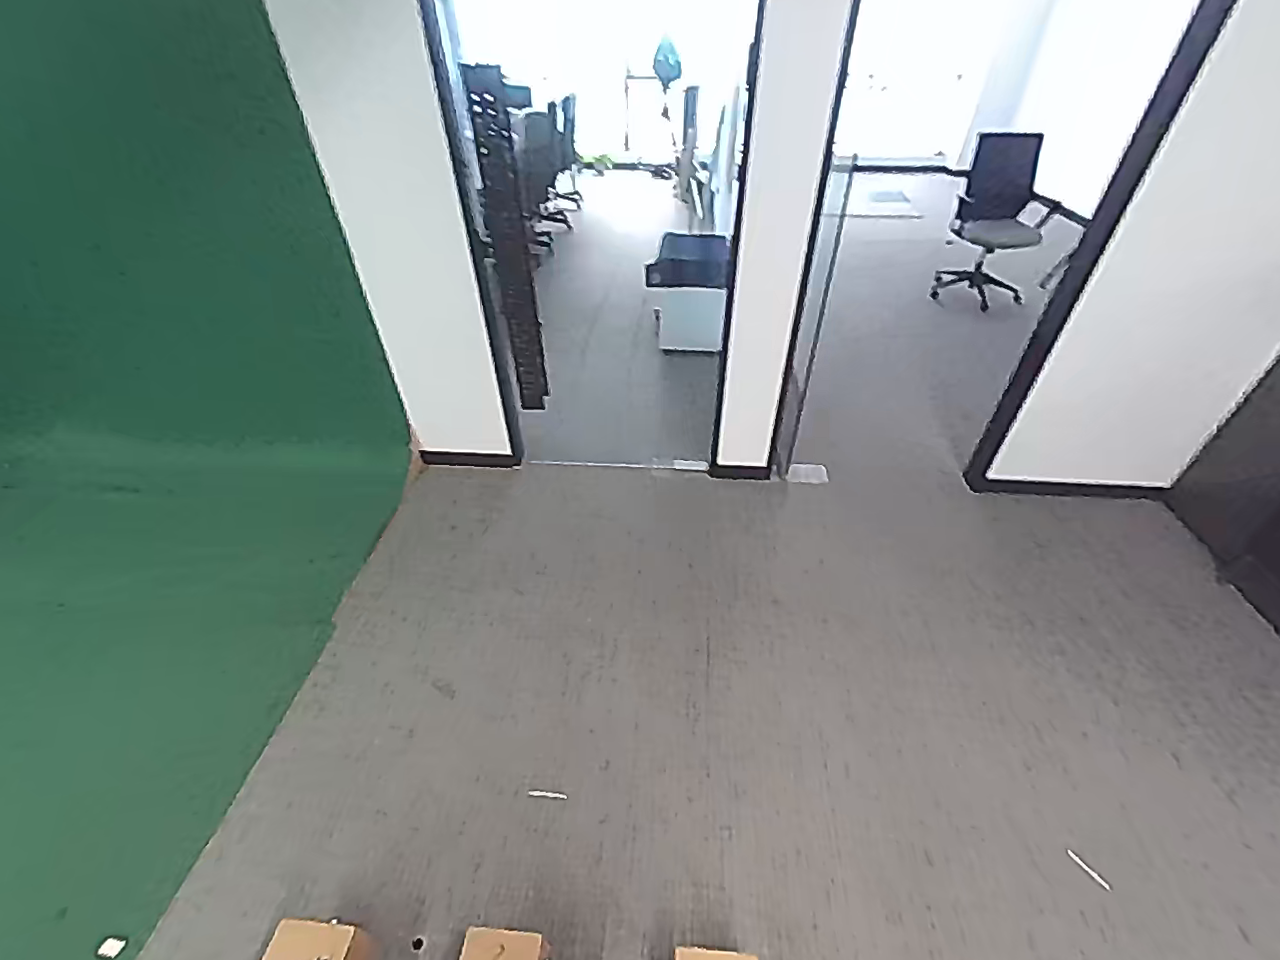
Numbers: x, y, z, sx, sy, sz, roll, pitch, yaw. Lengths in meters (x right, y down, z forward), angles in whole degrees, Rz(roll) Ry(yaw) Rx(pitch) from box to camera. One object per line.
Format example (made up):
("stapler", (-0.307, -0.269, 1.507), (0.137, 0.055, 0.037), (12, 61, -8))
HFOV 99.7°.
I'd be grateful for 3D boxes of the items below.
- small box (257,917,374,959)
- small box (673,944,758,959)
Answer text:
("small box", (-0.705, 1.064, 1.153), (0.179, 0.176, 0.168), (3, 40, 5))
("small box", (0.152, 1.093, 1.118), (0.179, 0.176, 0.168), (3, 41, 4))
